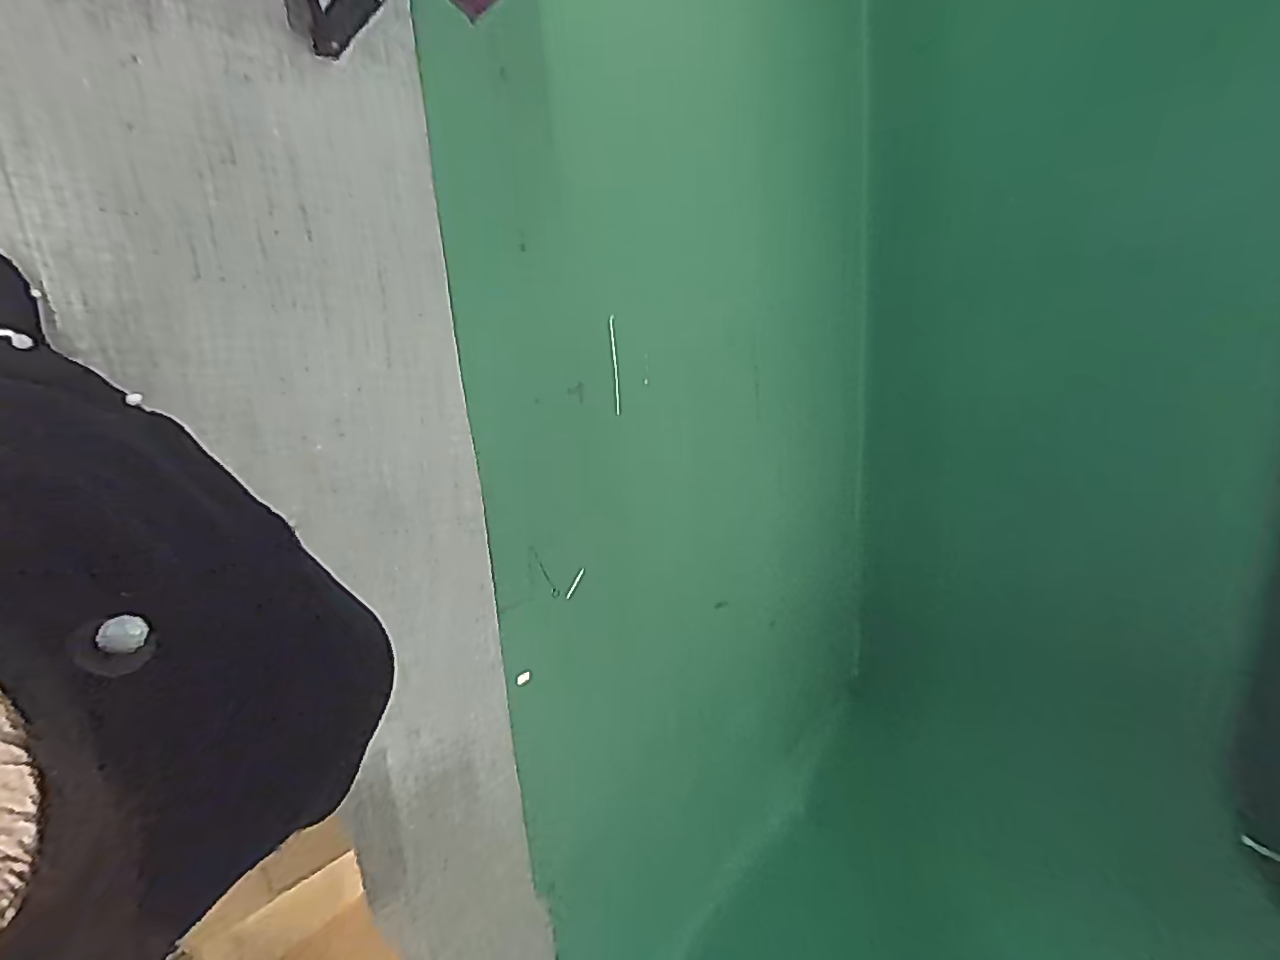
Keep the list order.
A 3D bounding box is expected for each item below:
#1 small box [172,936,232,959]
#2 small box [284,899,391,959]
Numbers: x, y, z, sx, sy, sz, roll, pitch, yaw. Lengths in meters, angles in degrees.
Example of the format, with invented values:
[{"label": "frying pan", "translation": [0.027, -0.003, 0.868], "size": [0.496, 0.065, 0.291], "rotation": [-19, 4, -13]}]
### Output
[{"label": "small box", "translation": [-0.800, 0.971, 0.944], "size": [0.168, 0.176, 0.179], "rotation": [-12, 106, -46]}, {"label": "small box", "translation": [-0.637, 1.060, 1.144], "size": [0.179, 0.176, 0.168], "rotation": [-21, 113, -45]}]
